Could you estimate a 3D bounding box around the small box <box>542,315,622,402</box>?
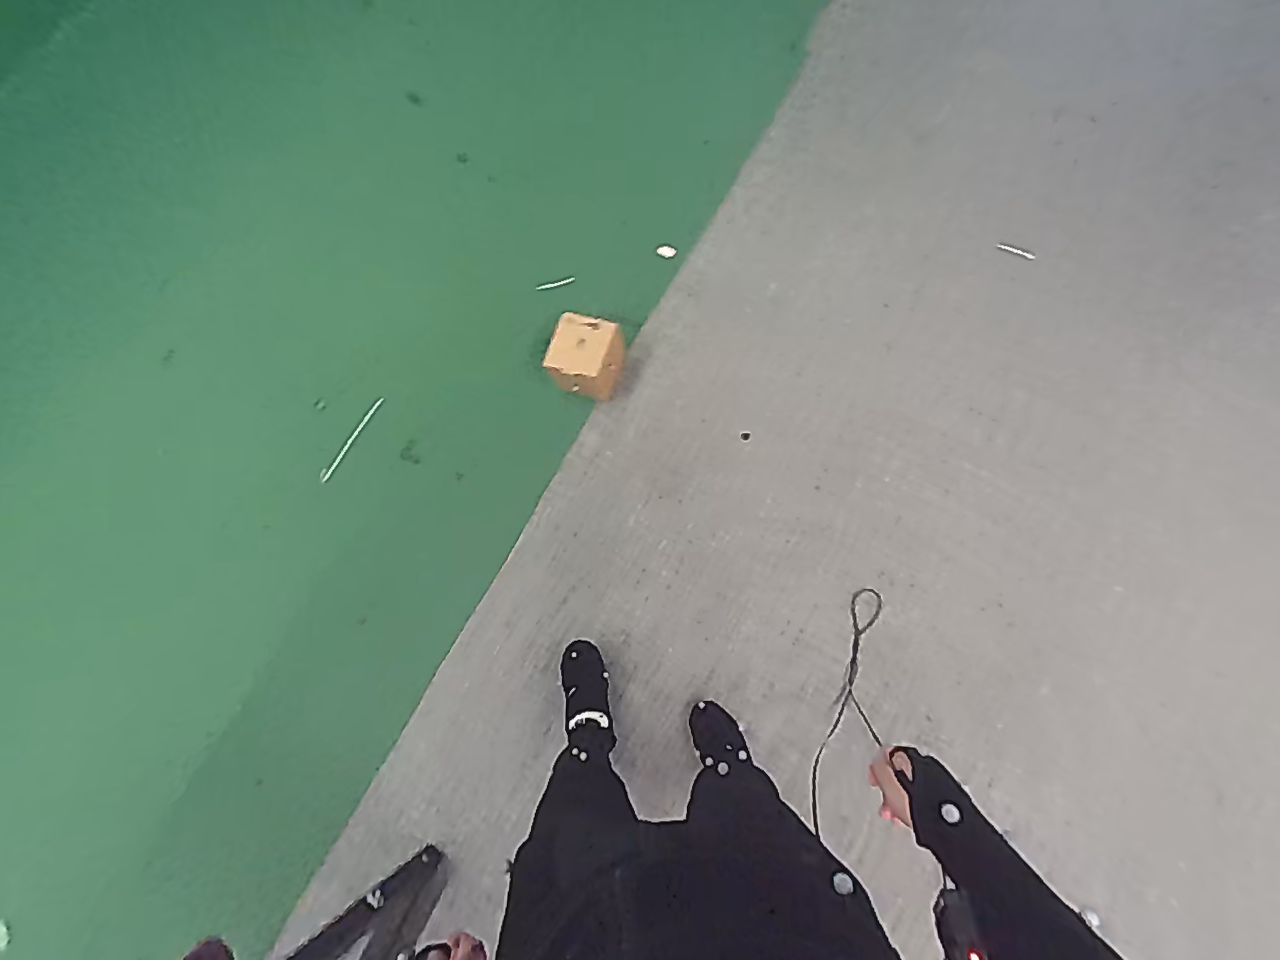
[{"bbox_3d":[-0.163,-0.352,1.596,0.168,0.176,0.179,16,78,11],"label":"small box"}]
